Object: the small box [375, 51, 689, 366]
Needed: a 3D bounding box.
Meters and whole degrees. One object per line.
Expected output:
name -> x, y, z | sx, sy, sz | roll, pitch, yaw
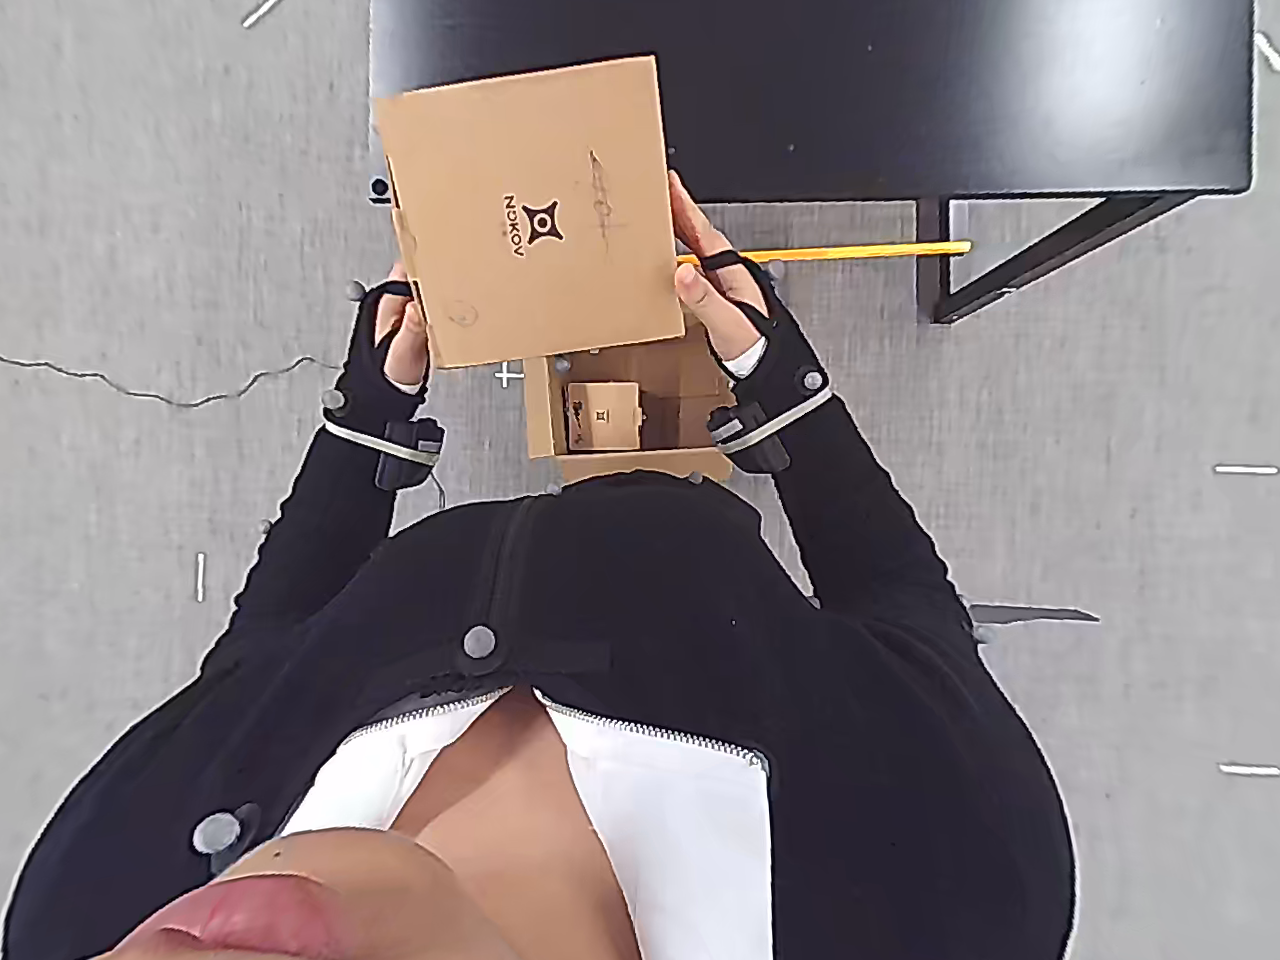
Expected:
small box -> -0.064, -0.186, 0.417 | 0.179, 0.176, 0.168 | -8, 107, 1
